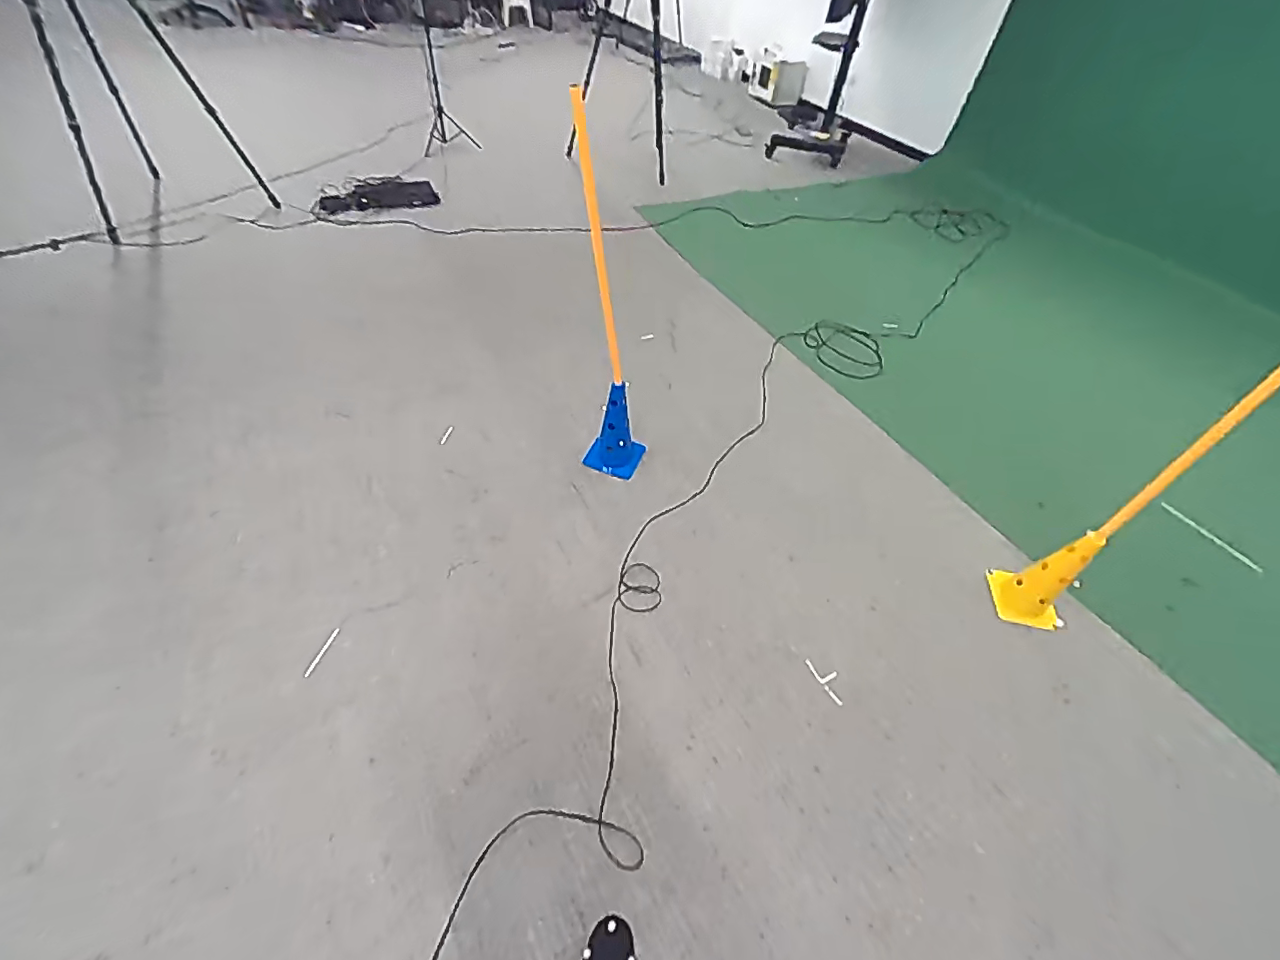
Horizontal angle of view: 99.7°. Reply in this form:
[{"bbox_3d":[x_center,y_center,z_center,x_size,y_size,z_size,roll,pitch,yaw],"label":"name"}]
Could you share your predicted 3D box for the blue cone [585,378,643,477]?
[{"bbox_3d":[-0.089,-0.201,1.940,0.193,0.380,0.192,17,49,10],"label":"blue cone"}]
